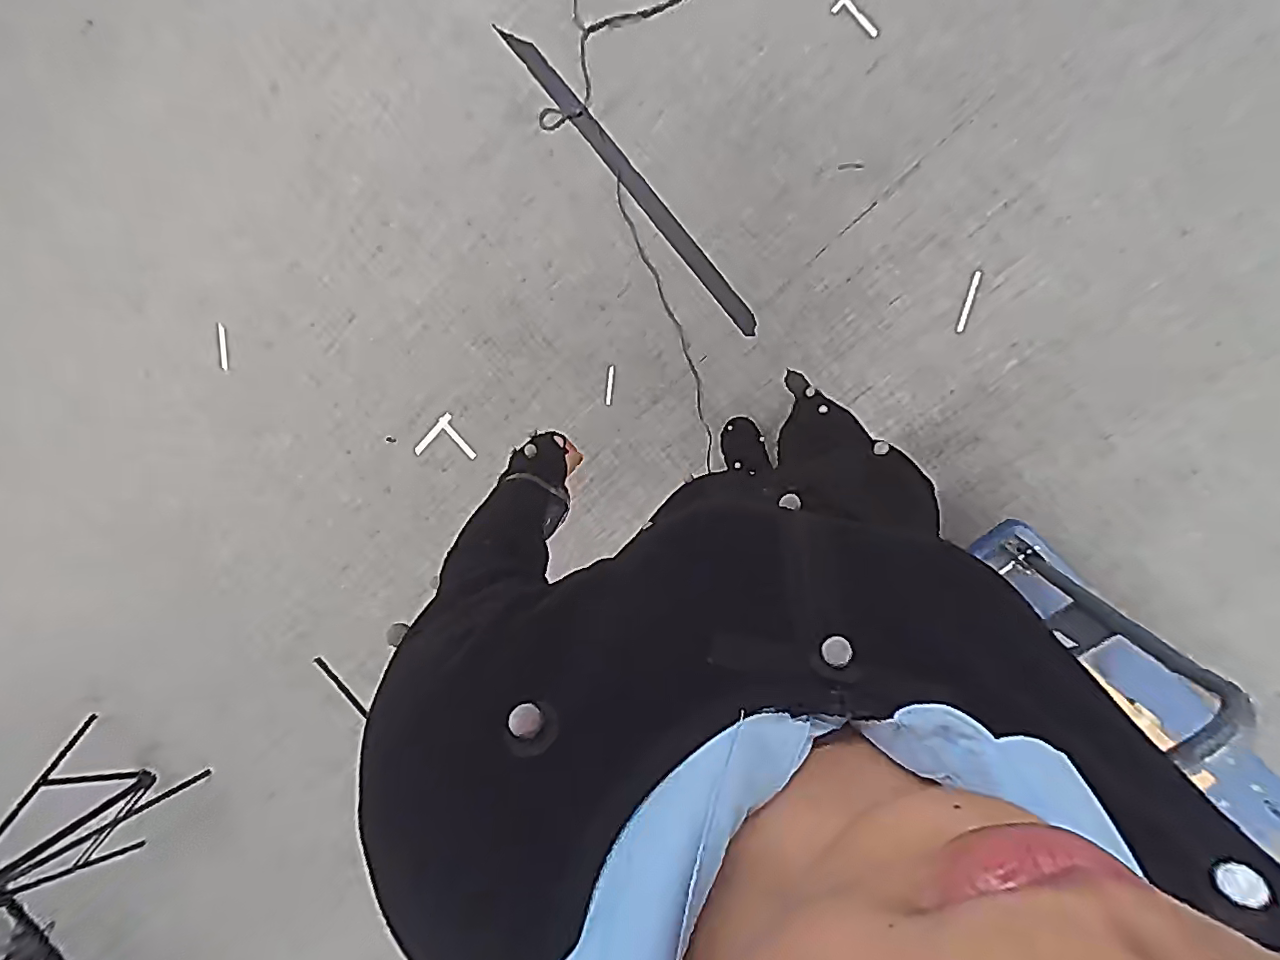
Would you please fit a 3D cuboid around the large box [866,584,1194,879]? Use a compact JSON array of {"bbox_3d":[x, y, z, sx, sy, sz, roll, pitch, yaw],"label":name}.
[{"bbox_3d":[0.755,0.499,1.132,0.320,0.320,0.408,43,108,3],"label":"large box"}]
